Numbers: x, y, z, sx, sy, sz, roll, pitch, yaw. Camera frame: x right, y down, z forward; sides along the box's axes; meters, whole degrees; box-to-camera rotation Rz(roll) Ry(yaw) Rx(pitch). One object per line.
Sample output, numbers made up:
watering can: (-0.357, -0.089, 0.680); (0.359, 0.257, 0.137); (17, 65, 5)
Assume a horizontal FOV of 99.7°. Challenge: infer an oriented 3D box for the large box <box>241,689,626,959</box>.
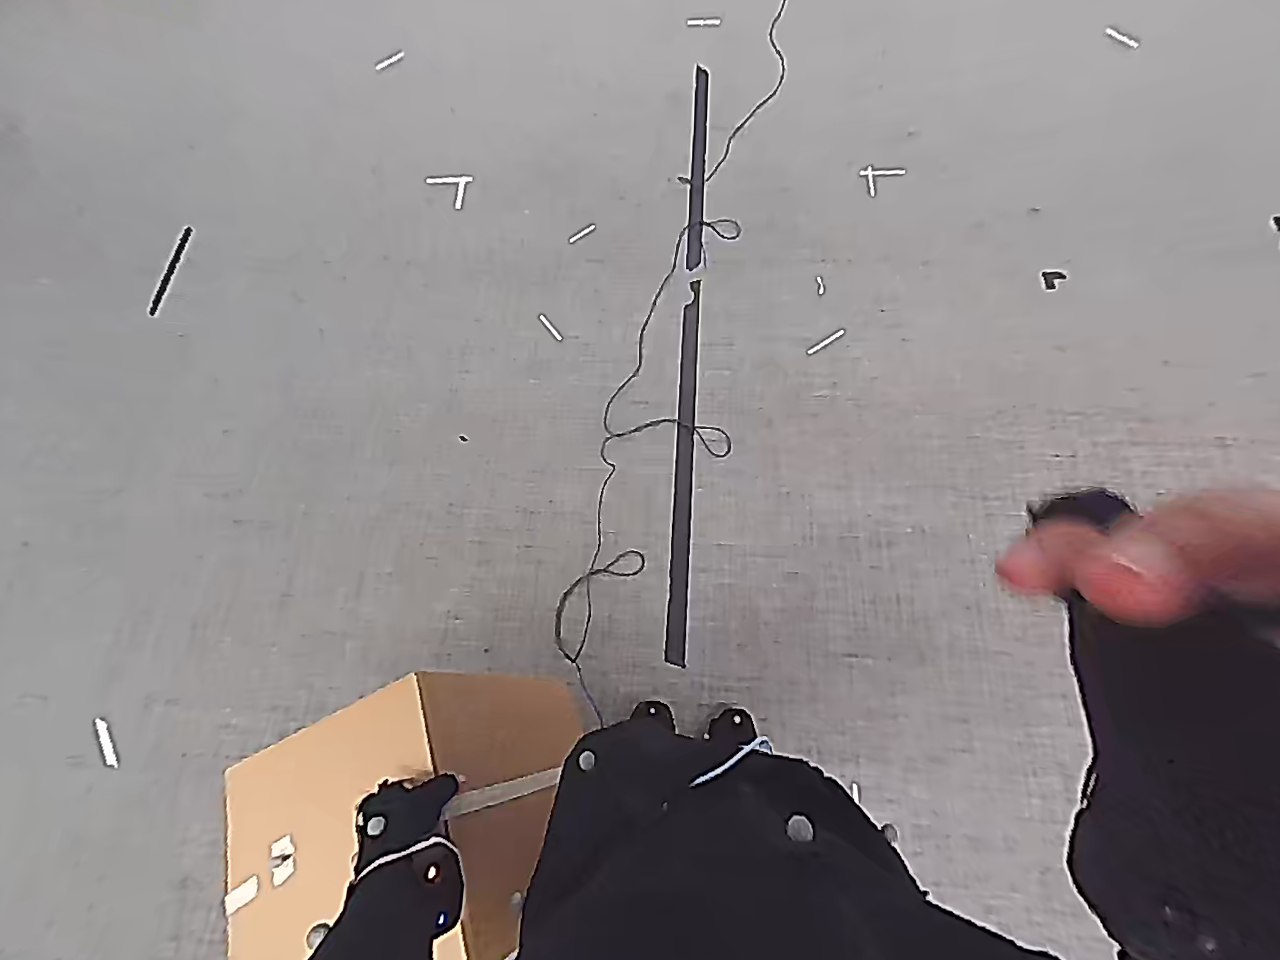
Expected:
large box: (-0.274, 0.522, 0.792); (0.320, 0.408, 0.320); (-28, 63, 8)
